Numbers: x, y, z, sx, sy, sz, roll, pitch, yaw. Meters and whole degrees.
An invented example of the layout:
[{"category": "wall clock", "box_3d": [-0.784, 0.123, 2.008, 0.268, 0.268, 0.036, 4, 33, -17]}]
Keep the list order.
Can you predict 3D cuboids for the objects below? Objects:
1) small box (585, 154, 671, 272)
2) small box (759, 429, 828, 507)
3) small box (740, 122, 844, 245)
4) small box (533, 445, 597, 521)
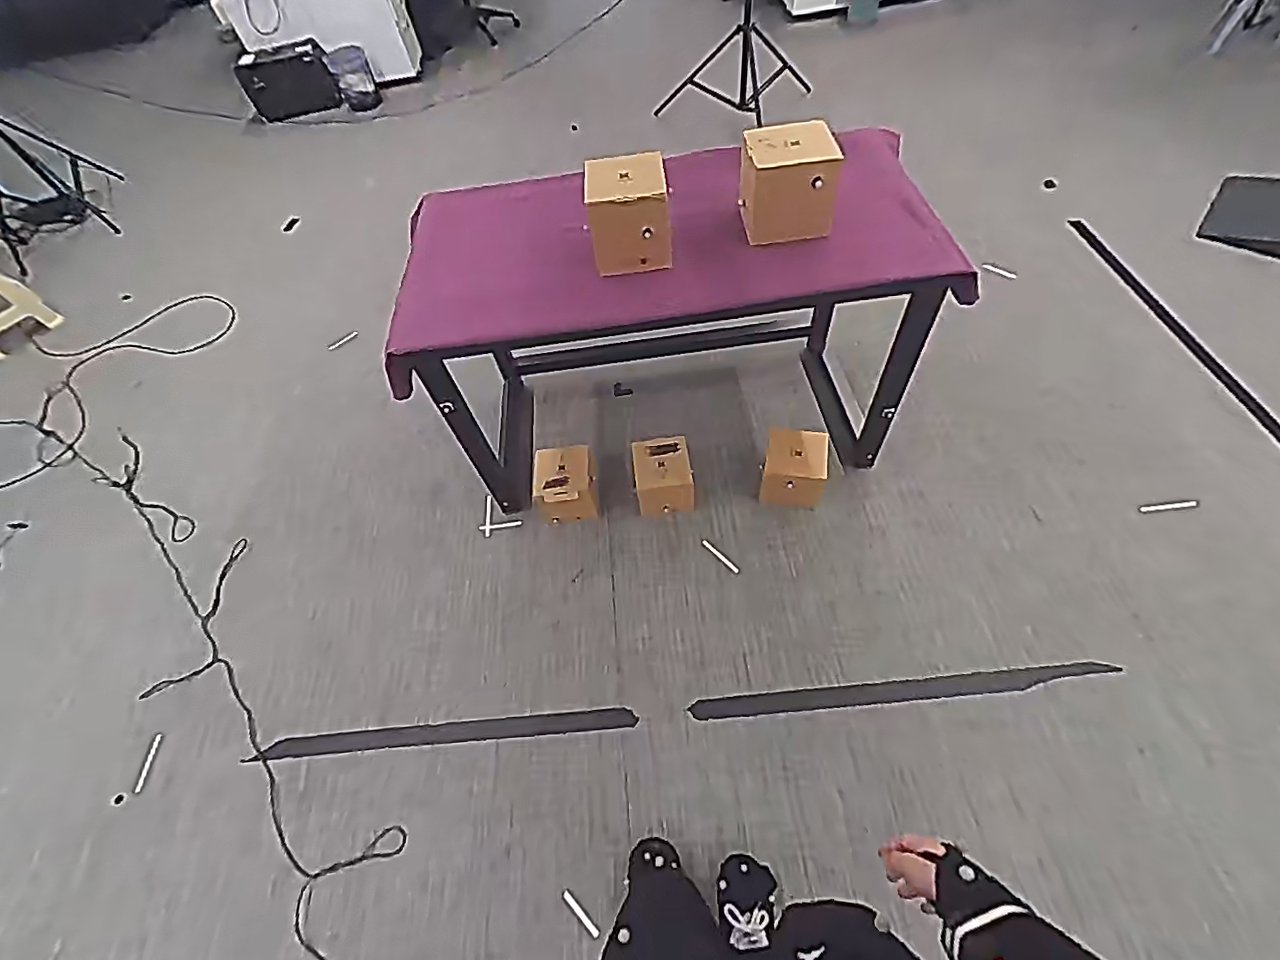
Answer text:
[{"category": "small box", "box_3d": [-0.024, -0.568, 1.168, 0.168, 0.176, 0.179, -6, 54, 2]}, {"category": "small box", "box_3d": [0.461, -0.033, 1.634, 0.179, 0.176, 0.168, 6, 58, 12]}, {"category": "small box", "box_3d": [0.319, -0.636, 1.169, 0.179, 0.176, 0.168, -6, 55, 4]}, {"category": "small box", "box_3d": [-0.227, 0.016, 1.684, 0.168, 0.176, 0.179, -6, 55, 3]}]
